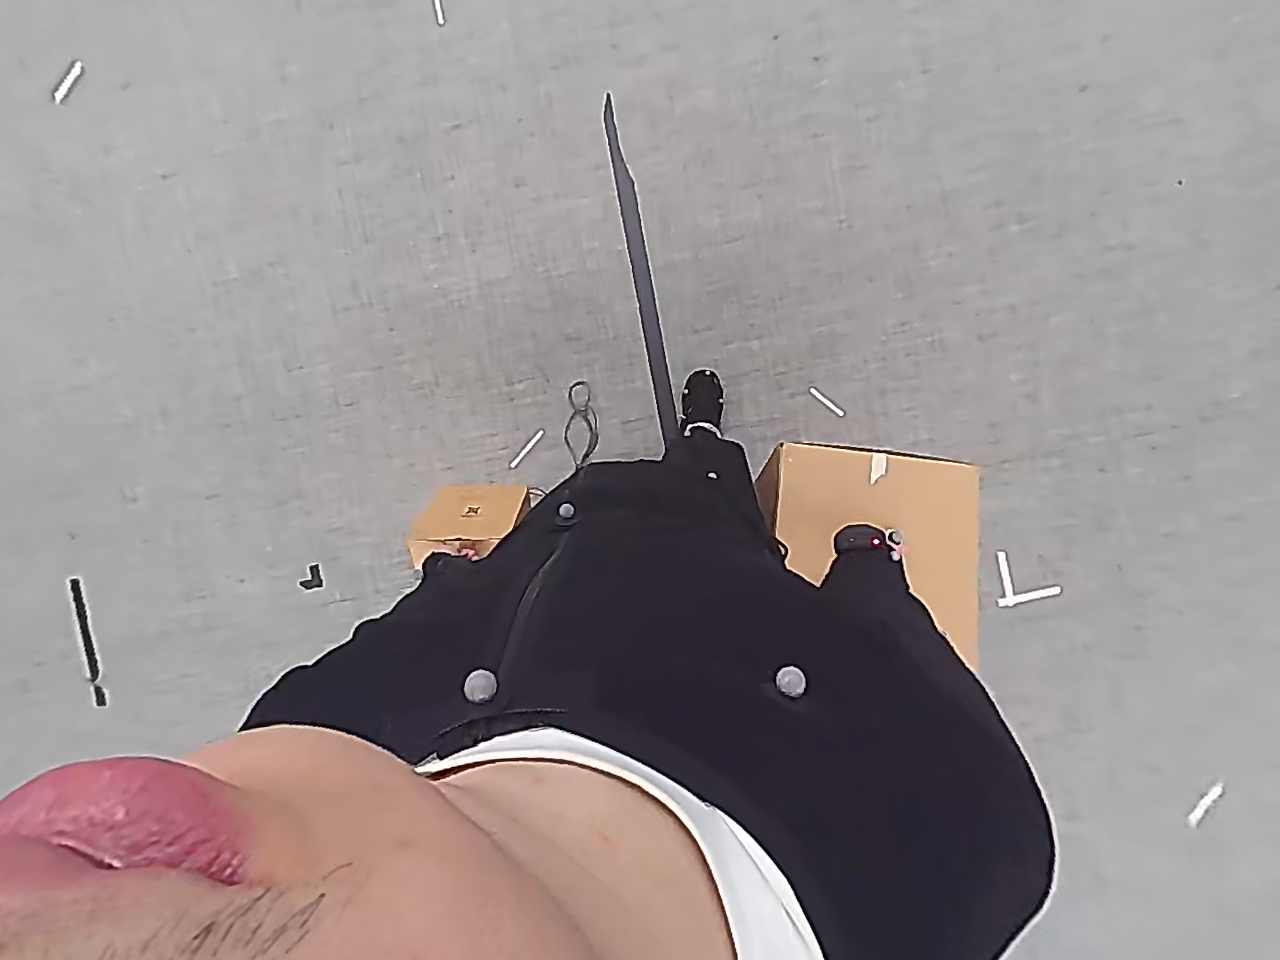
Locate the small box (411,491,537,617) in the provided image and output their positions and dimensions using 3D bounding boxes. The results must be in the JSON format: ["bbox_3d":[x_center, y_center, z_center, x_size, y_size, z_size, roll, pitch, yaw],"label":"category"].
[{"bbox_3d":[-0.289,0.134,0.987,0.168,0.179,0.176,0,117,1],"label":"small box"}]
